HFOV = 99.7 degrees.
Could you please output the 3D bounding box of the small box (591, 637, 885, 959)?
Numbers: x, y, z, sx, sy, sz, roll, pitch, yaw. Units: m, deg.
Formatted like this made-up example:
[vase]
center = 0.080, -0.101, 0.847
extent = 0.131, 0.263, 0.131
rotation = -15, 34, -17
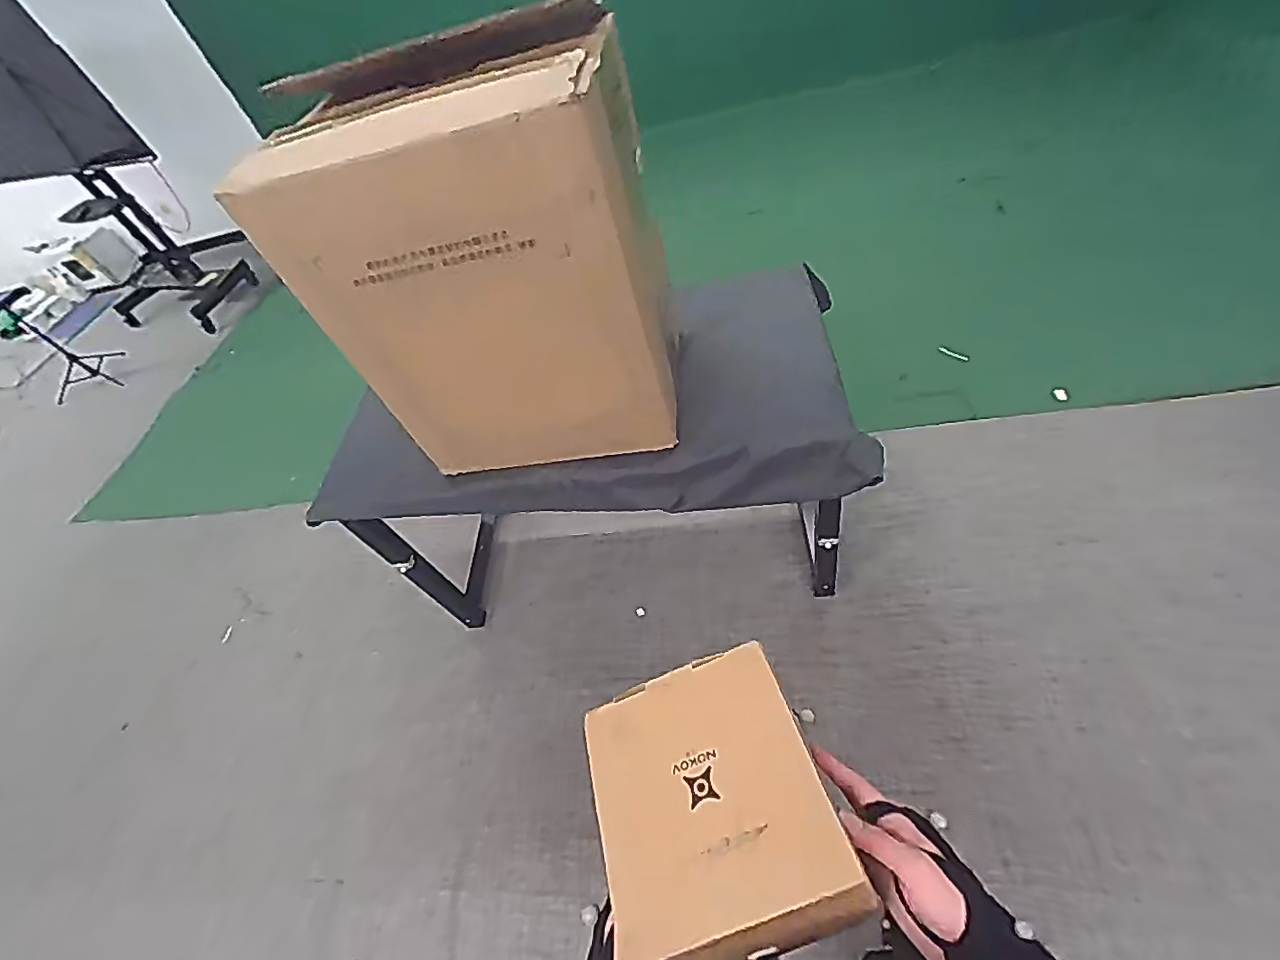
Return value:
[small box]
center = 0.078, 0.270, 0.447
extent = 0.168, 0.176, 0.179
rotation = -26, 42, 4
